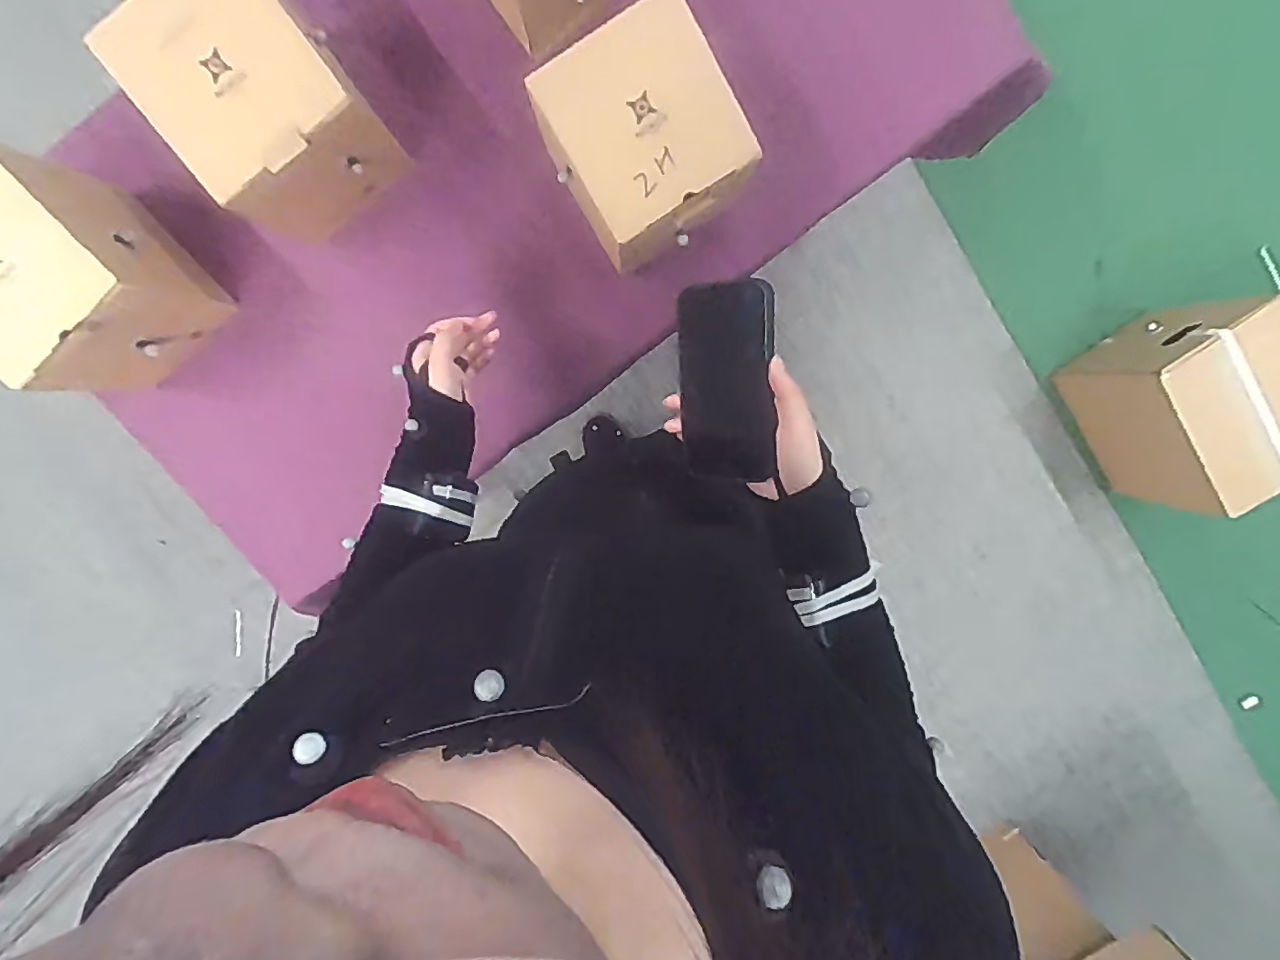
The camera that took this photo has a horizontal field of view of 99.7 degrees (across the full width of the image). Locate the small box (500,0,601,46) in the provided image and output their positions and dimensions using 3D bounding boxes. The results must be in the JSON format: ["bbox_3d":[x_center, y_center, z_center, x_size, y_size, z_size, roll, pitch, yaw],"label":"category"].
[{"bbox_3d":[-0.109,-0.607,0.544,0.168,0.176,0.179,-38,100,6],"label":"small box"}]

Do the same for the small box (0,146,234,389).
[{"bbox_3d":[-0.620,-0.224,0.605,0.168,0.176,0.179,-40,100,5],"label":"small box"}]

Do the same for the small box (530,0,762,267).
[{"bbox_3d":[0.005,-0.364,0.592,0.168,0.176,0.179,-30,100,5],"label":"small box"}]

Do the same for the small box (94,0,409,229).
[{"bbox_3d":[-0.385,-0.397,0.578,0.168,0.176,0.179,-35,100,4],"label":"small box"}]
